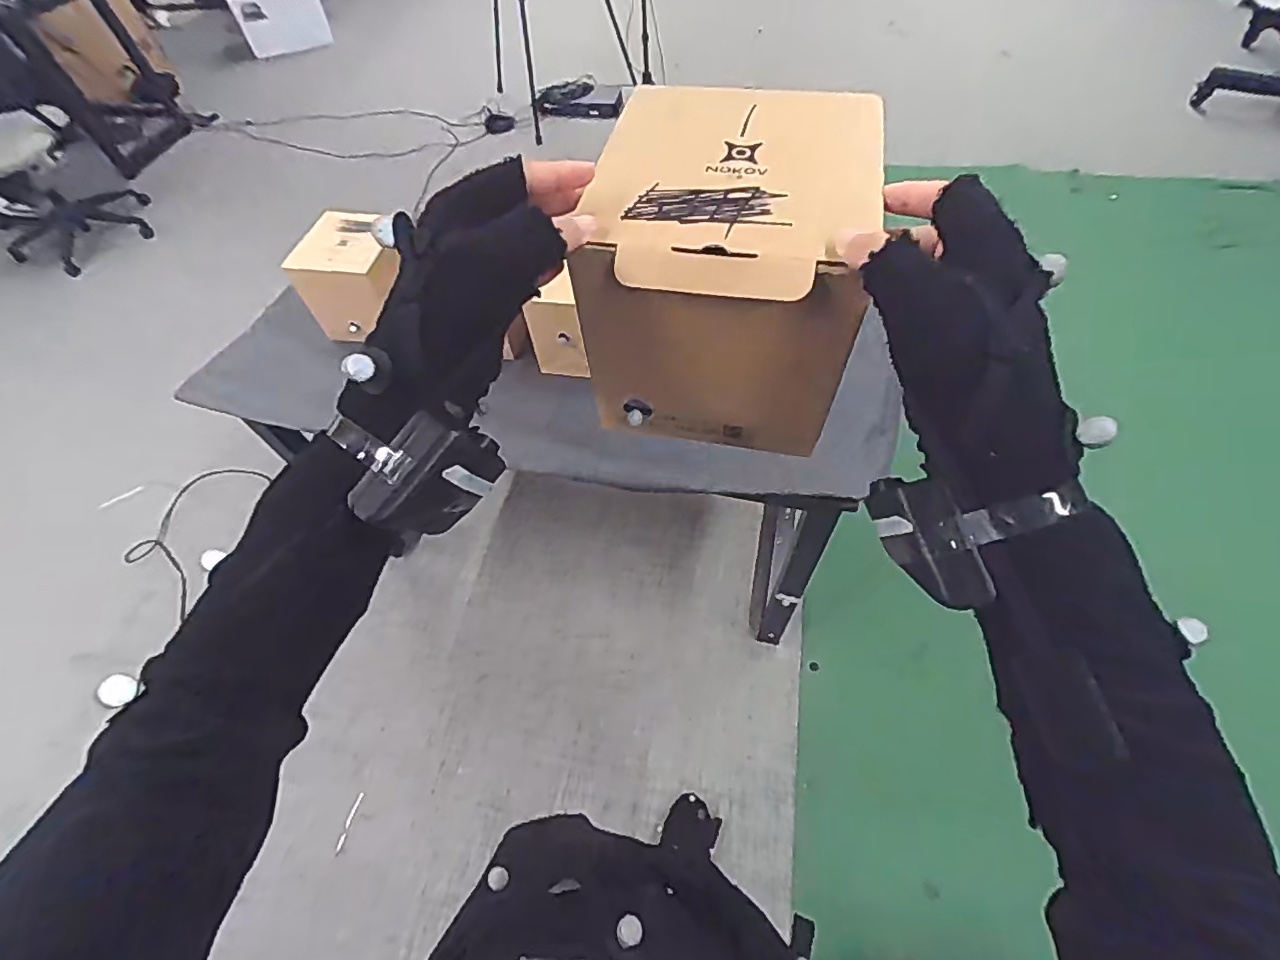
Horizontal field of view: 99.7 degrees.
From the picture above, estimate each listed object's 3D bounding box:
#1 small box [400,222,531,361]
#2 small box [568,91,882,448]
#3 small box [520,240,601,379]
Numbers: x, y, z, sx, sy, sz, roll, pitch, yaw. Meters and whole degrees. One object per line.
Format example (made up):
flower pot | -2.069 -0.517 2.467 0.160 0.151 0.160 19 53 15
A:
small box | -0.305 -0.349 1.002 0.168 0.176 0.179 6 57 8
small box | 0.063 -0.145 0.391 0.168 0.176 0.179 10 60 10
small box | -0.092 -0.296 0.957 0.168 0.176 0.179 7 56 8
